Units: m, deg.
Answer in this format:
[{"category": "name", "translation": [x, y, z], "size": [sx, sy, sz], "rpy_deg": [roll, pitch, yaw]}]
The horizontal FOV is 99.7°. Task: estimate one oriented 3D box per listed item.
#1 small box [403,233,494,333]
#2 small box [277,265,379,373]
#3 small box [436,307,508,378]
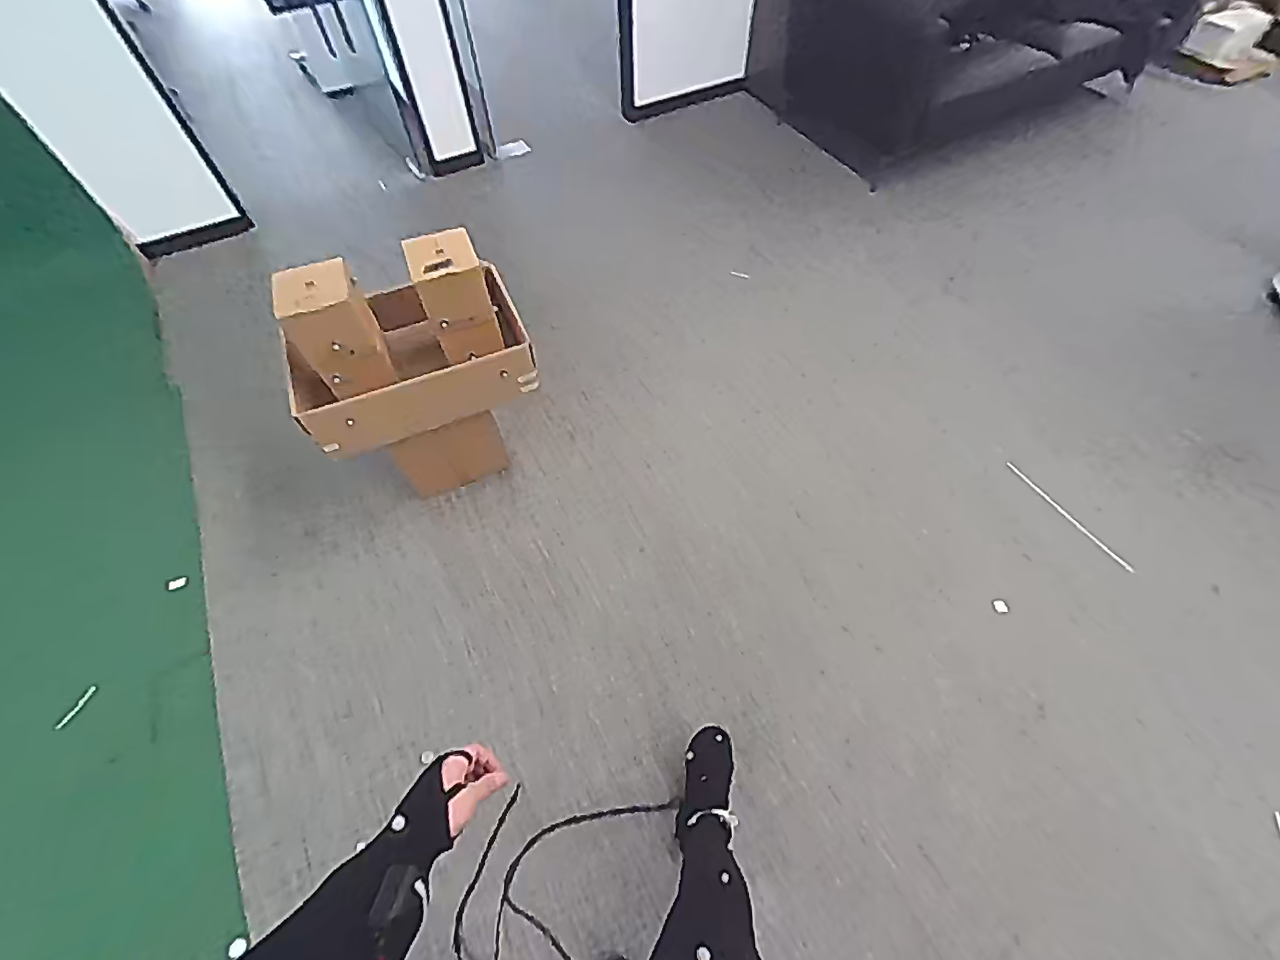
[{"category": "small box", "translation": [-0.498, -0.508, 1.418], "size": [0.168, 0.176, 0.179], "rpy_deg": [-20, 59, -12]}, {"category": "small box", "translation": [-0.777, -0.401, 1.354], "size": [0.168, 0.176, 0.179], "rpy_deg": [-20, 59, -10]}, {"category": "small box", "translation": [-0.497, -0.426, 1.561], "size": [0.168, 0.176, 0.179], "rpy_deg": [-21, 61, -12]}]
